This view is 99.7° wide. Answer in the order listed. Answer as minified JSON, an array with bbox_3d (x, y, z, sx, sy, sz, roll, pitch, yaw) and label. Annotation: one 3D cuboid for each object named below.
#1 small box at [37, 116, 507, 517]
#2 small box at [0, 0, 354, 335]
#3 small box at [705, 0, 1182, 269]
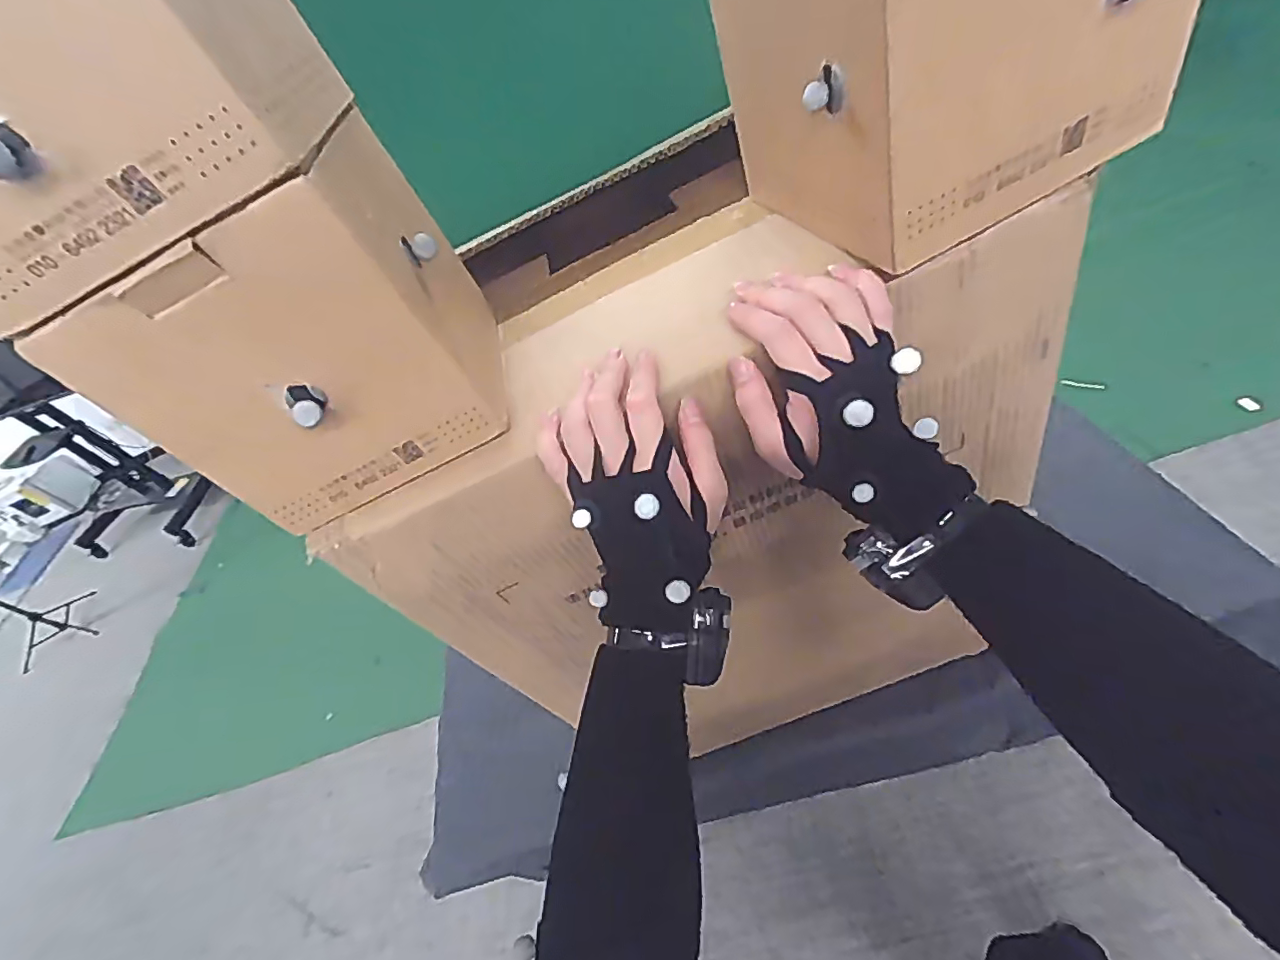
[{"bbox_3d":[-0.204,-0.098,0.362,0.168,0.176,0.179,-26,45,6],"label":"small box"},{"bbox_3d":[-0.265,-0.199,0.247,0.168,0.176,0.179,-26,45,7],"label":"small box"},{"bbox_3d":[0.156,-0.246,0.302,0.168,0.176,0.179,-28,43,1],"label":"small box"}]
